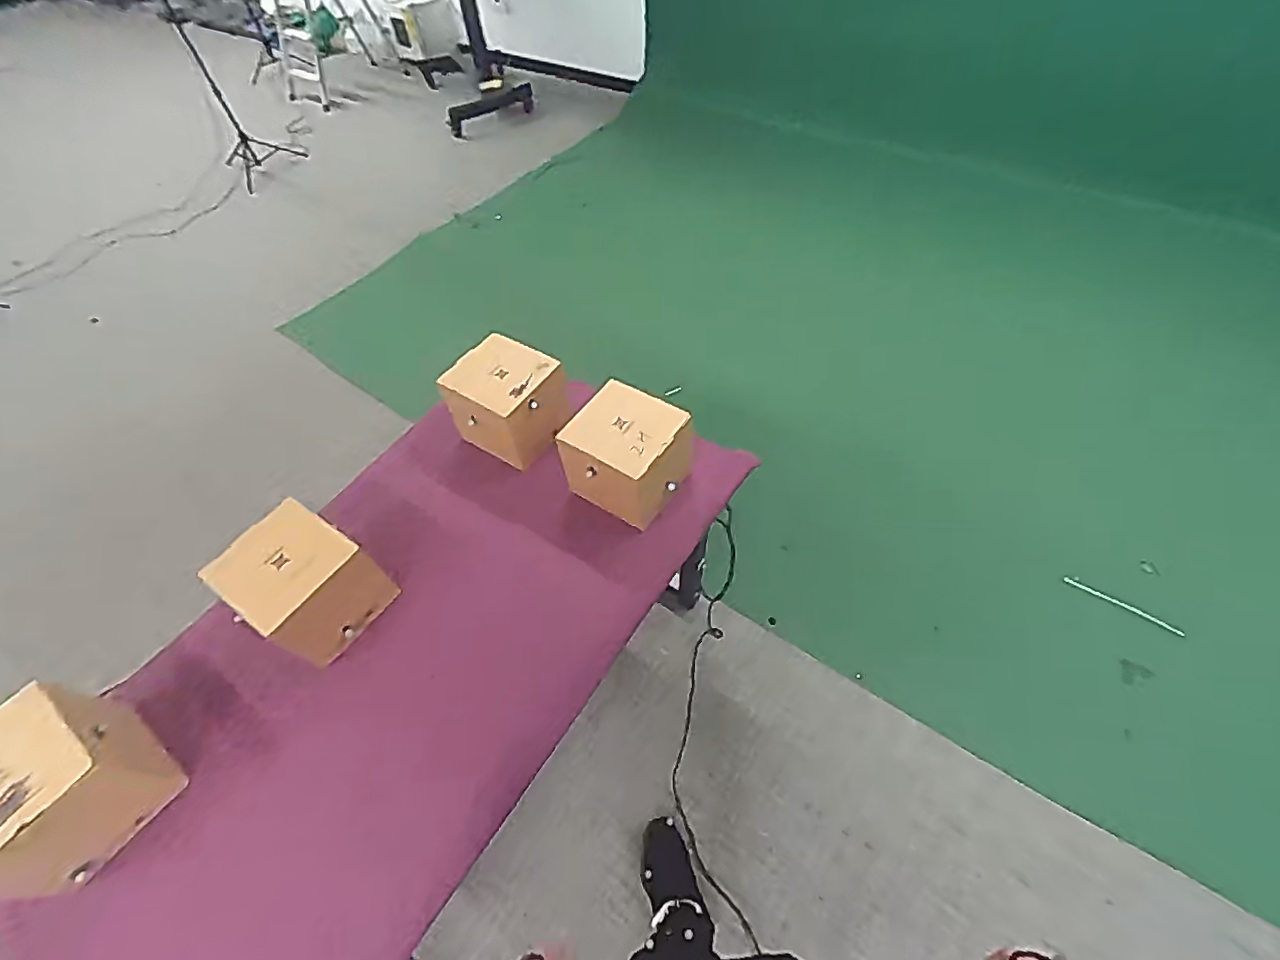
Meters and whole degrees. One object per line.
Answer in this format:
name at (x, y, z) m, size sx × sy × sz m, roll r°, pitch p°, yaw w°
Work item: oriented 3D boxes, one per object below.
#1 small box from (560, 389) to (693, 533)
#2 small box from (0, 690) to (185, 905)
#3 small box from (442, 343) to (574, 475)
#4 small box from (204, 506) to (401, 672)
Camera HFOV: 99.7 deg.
small box at (-0.018, -0.031, 0.993) m, size 0.179 × 0.176 × 0.168 m, roll 28°, pitch 62°, yaw 22°
small box at (-0.762, 0.413, 0.707) m, size 0.179 × 0.176 × 0.168 m, roll 30°, pitch 60°, yaw 21°
small box at (-0.256, -0.139, 1.088) m, size 0.179 × 0.176 × 0.168 m, roll 26°, pitch 60°, yaw 21°
small box at (-0.528, 0.180, 0.871) m, size 0.179 × 0.176 × 0.168 m, roll 28°, pitch 61°, yaw 20°
